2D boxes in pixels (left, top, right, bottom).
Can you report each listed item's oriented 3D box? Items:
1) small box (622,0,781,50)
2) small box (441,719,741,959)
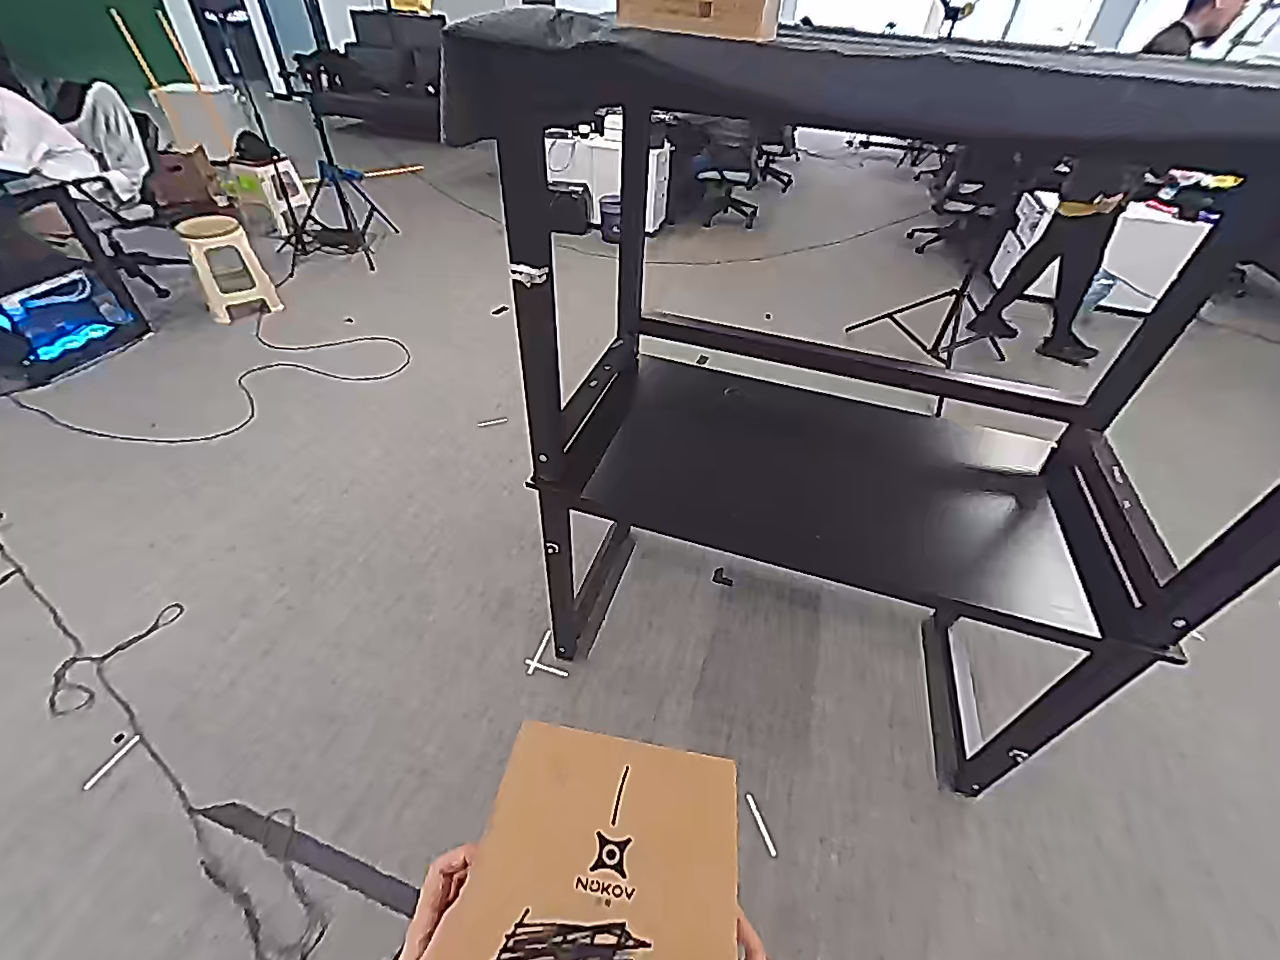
[{"bbox_3d":[0.080,-0.605,0.618,0.168,0.176,0.179,15,41,10],"label":"small box"},{"bbox_3d":[-0.027,0.308,0.379,0.168,0.176,0.179,10,33,3],"label":"small box"}]
